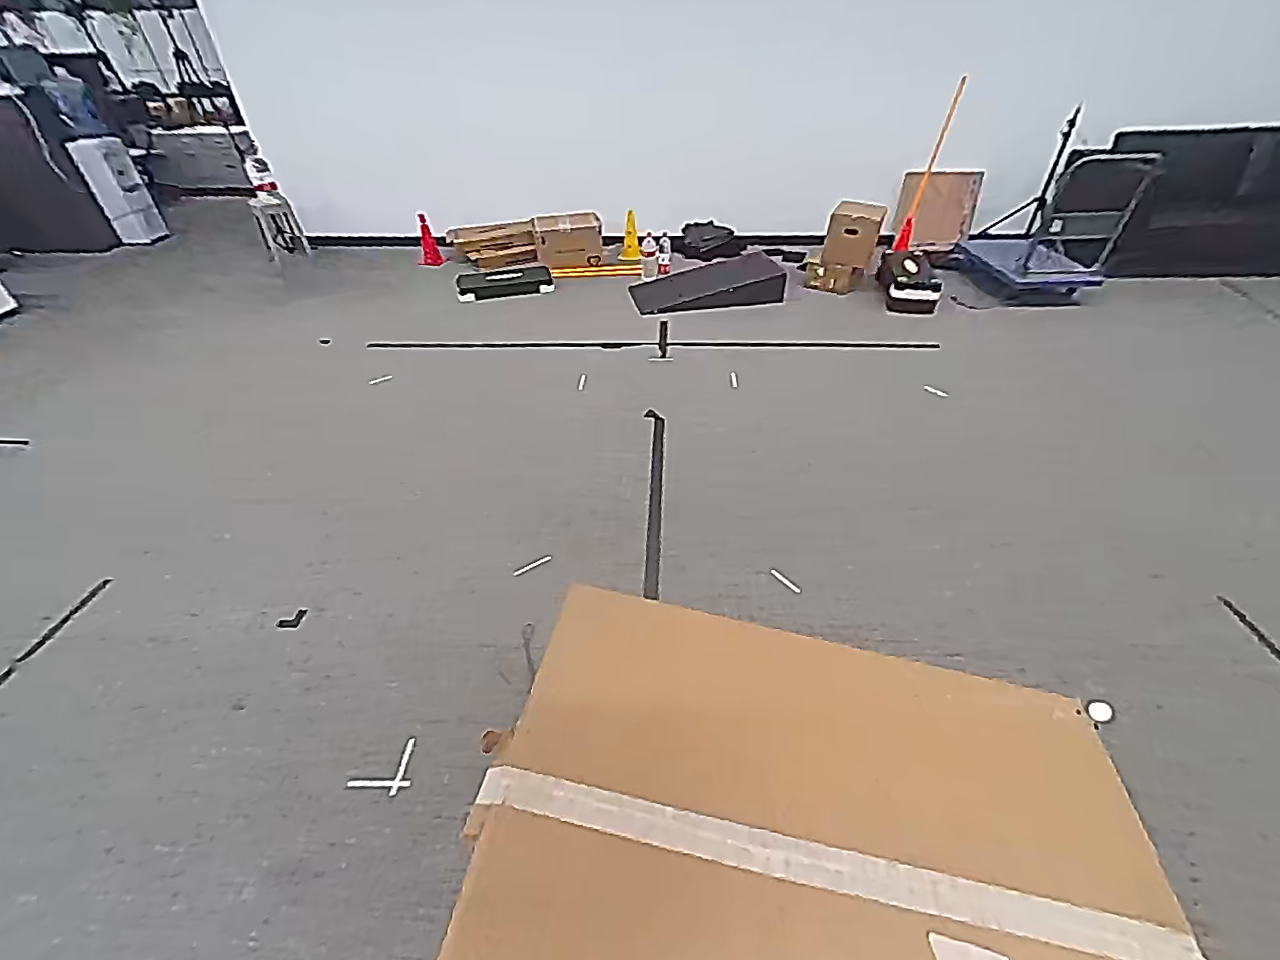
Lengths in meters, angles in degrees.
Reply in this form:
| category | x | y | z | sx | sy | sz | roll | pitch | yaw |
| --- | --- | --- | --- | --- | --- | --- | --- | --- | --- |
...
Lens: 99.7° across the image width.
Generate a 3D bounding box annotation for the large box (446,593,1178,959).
| category | x | y | z | sx | sy | sz | roll | pitch | yaw |
| --- | --- | --- | --- | --- | --- | --- | --- | --- | --- |
| large box | 0.088 | 0.337 | 0.414 | 0.408 | 0.320 | 0.320 | 13 | 41 | 2 |
